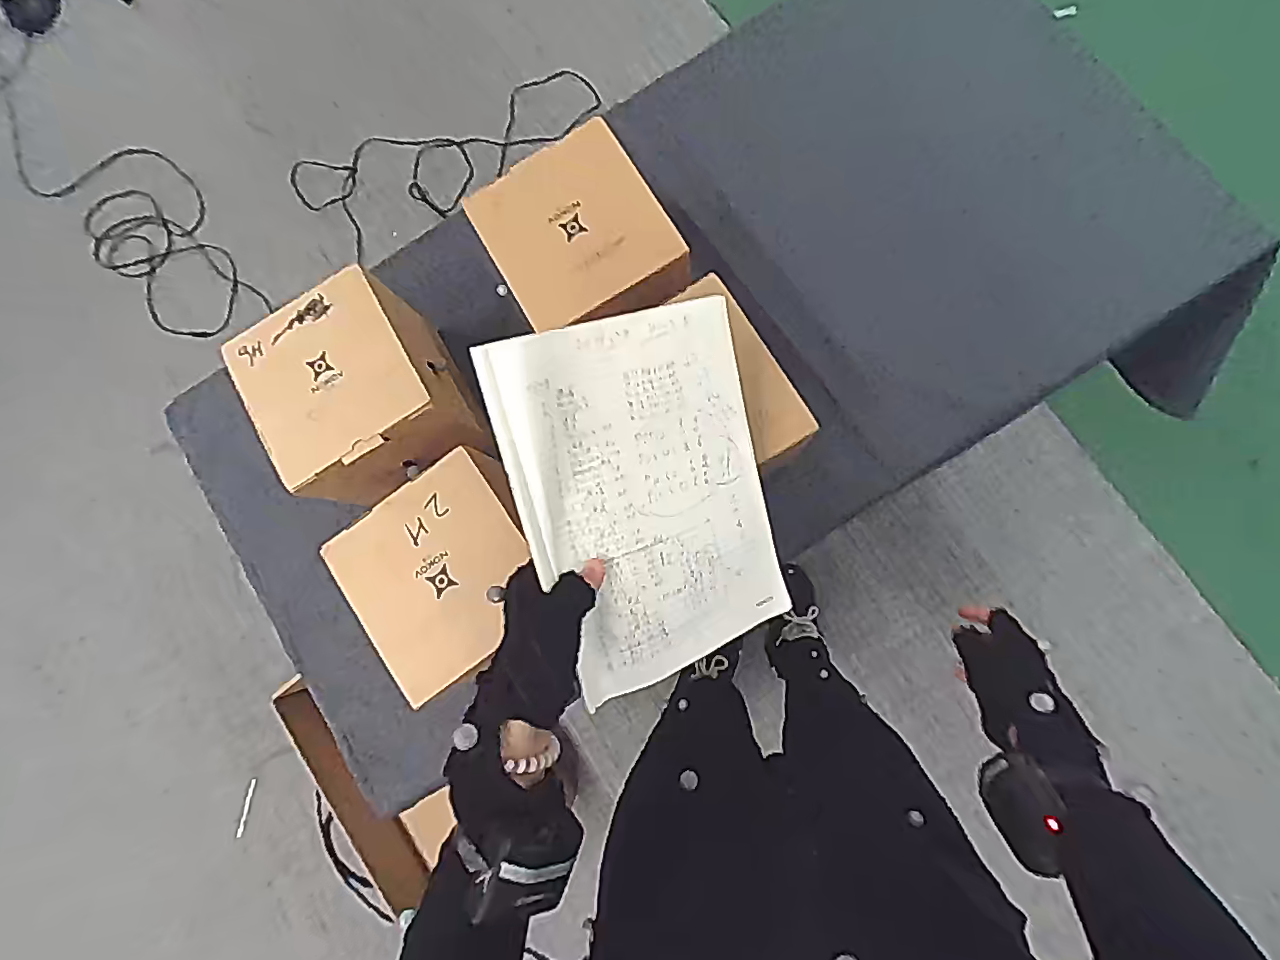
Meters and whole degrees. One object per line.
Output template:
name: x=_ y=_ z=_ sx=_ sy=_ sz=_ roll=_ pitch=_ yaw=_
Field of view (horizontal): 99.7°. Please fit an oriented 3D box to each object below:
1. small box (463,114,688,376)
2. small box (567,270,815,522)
small box: x=-0.059 y=-0.240 z=0.601 sx=0.168 sy=0.176 sz=0.179 roll=-31 pitch=81 yaw=2
small box: x=0.049 y=-0.071 z=0.562 sx=0.168 sy=0.176 sz=0.179 roll=-31 pitch=80 yaw=2
